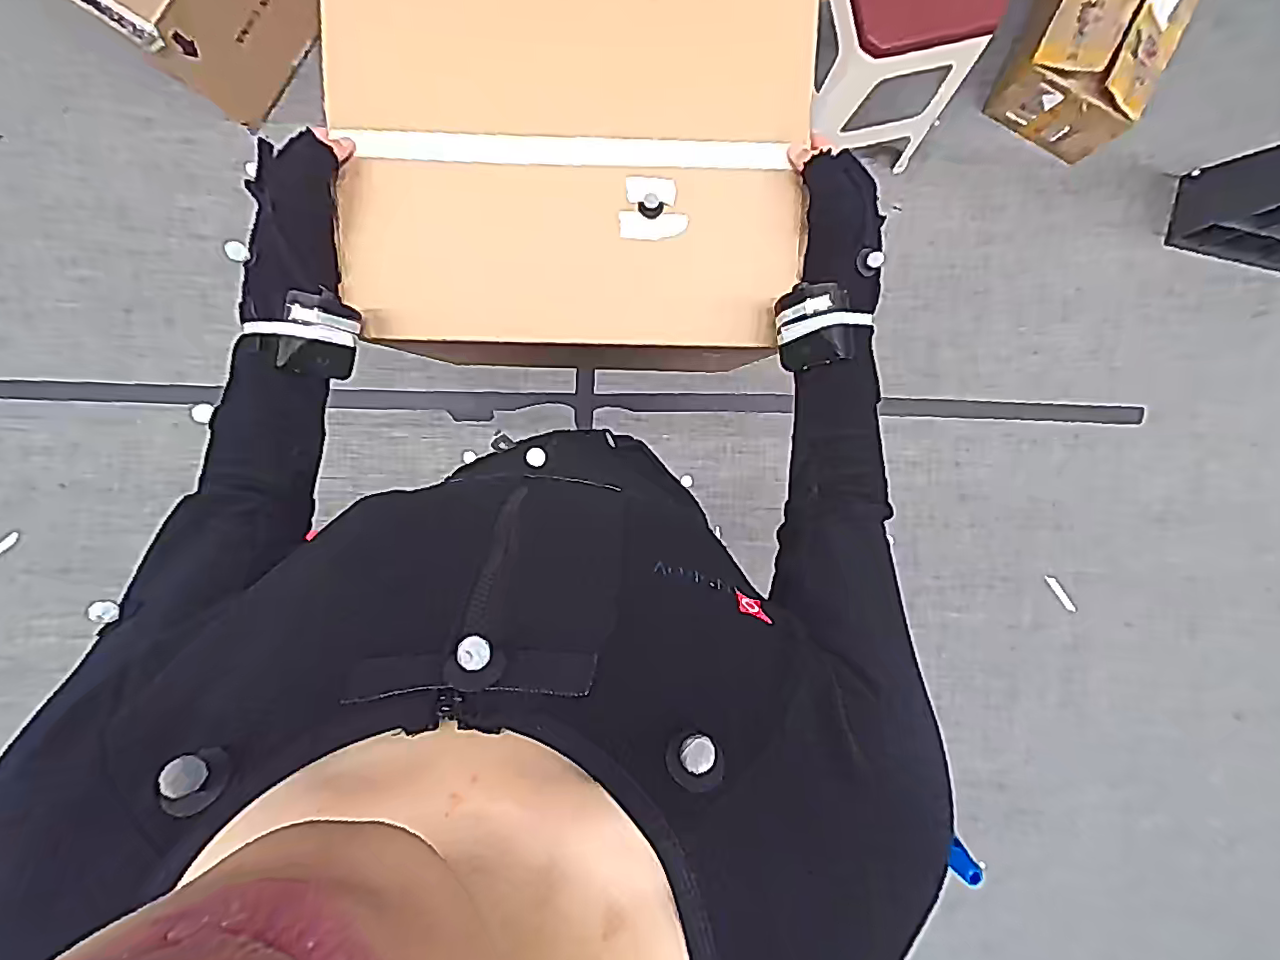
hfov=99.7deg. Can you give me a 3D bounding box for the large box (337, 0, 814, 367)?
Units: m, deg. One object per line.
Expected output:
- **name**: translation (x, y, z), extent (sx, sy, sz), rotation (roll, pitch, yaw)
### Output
- **large box**: translation (-0.059, -0.298, 0.612), extent (0.408, 0.320, 0.320), rotation (1, 98, -3)
